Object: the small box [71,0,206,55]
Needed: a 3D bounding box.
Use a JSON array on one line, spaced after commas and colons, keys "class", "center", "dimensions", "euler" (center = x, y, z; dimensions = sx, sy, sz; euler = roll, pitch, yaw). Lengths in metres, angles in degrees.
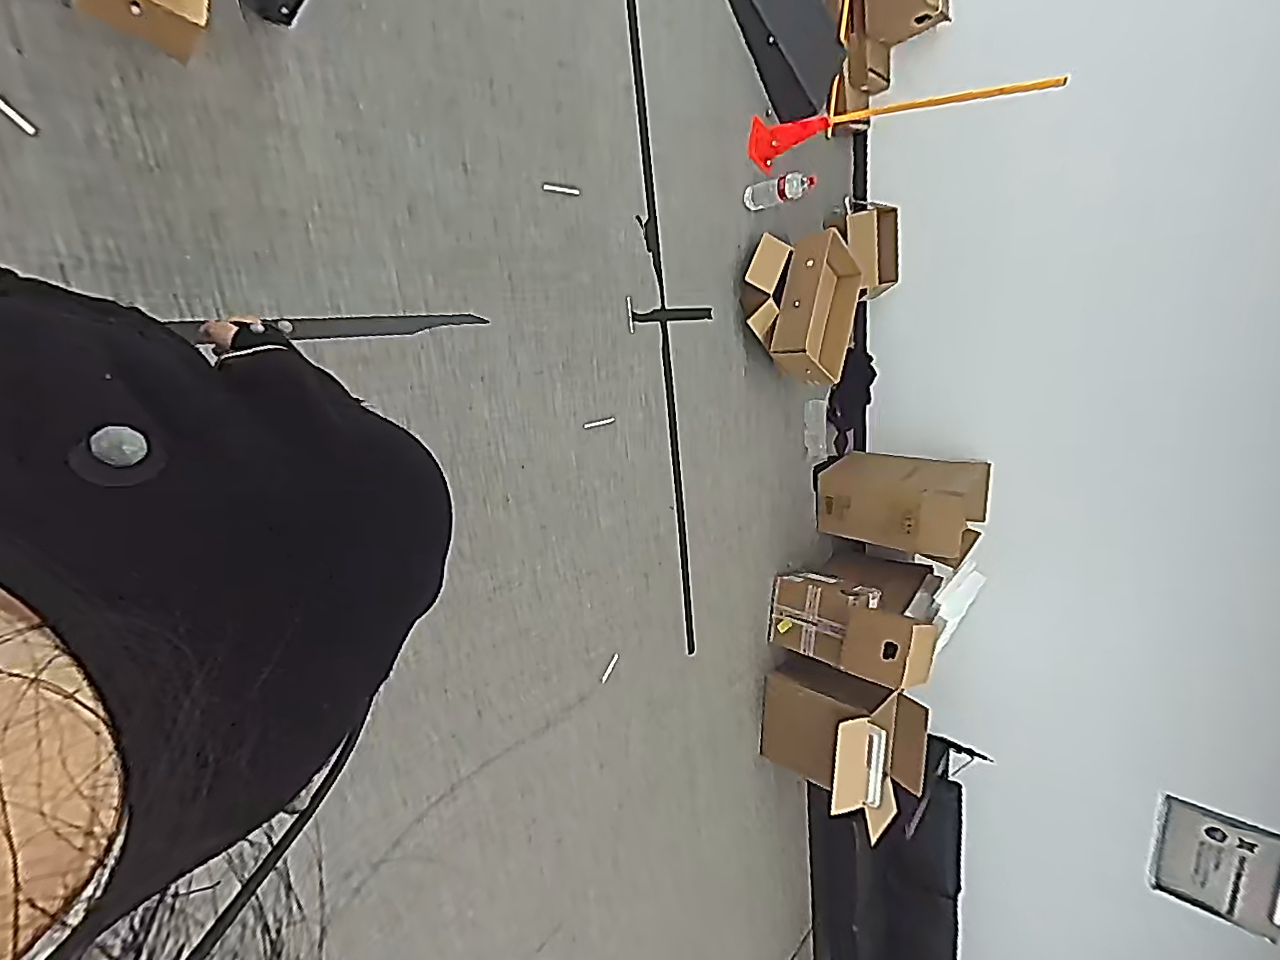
[{"class": "small box", "center": [-0.926, -0.938, 1.001], "dimensions": [0.179, 0.176, 0.168], "euler": [3, 94, -46]}]
